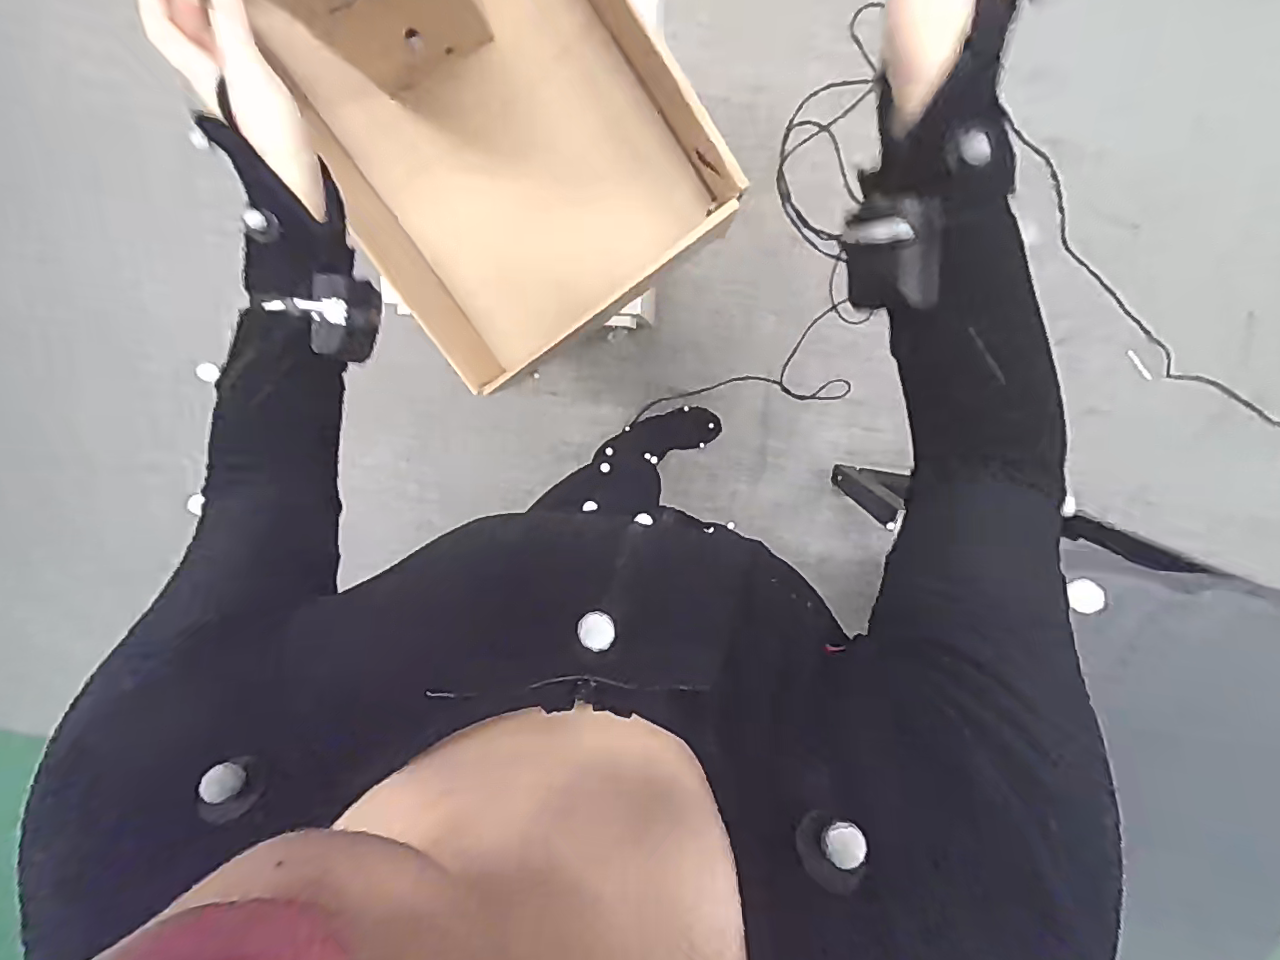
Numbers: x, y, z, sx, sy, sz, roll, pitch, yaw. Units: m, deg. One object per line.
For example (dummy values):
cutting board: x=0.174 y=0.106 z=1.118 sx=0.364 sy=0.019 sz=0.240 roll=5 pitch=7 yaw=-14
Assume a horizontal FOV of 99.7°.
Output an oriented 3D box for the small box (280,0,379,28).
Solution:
small box: x=-0.303 y=-0.545 z=0.454 sx=0.168 sy=0.176 sz=0.179 roll=-17 pitch=104 yaw=10
